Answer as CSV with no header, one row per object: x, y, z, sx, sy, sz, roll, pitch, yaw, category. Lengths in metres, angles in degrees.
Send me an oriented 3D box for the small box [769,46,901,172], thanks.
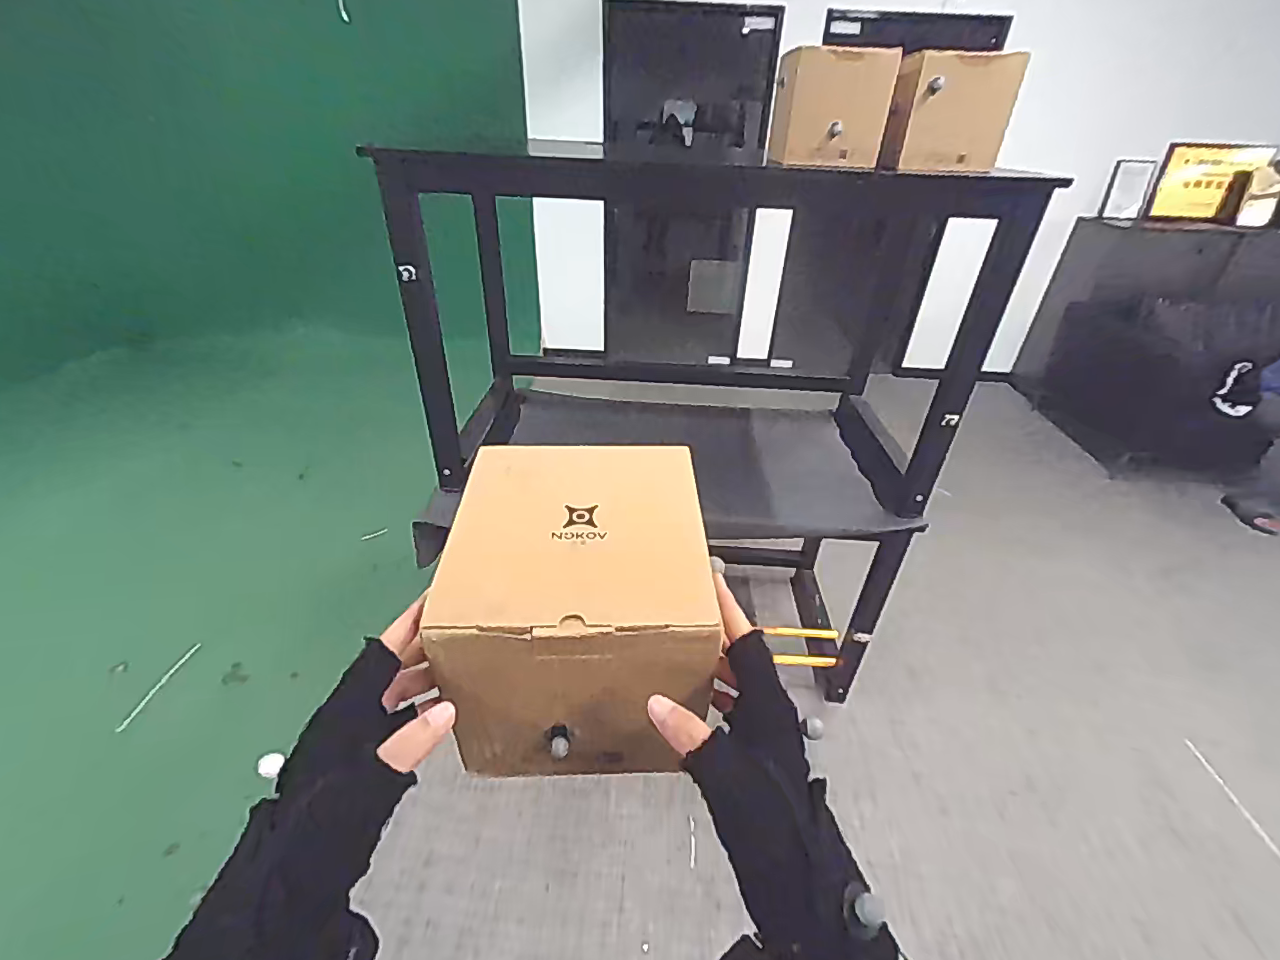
0.339,-0.667,0.982,0.168,0.176,0.179,3,34,0,small box

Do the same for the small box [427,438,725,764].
-0.040,0.085,0.405,0.168,0.176,0.179,0,38,-3,small box
